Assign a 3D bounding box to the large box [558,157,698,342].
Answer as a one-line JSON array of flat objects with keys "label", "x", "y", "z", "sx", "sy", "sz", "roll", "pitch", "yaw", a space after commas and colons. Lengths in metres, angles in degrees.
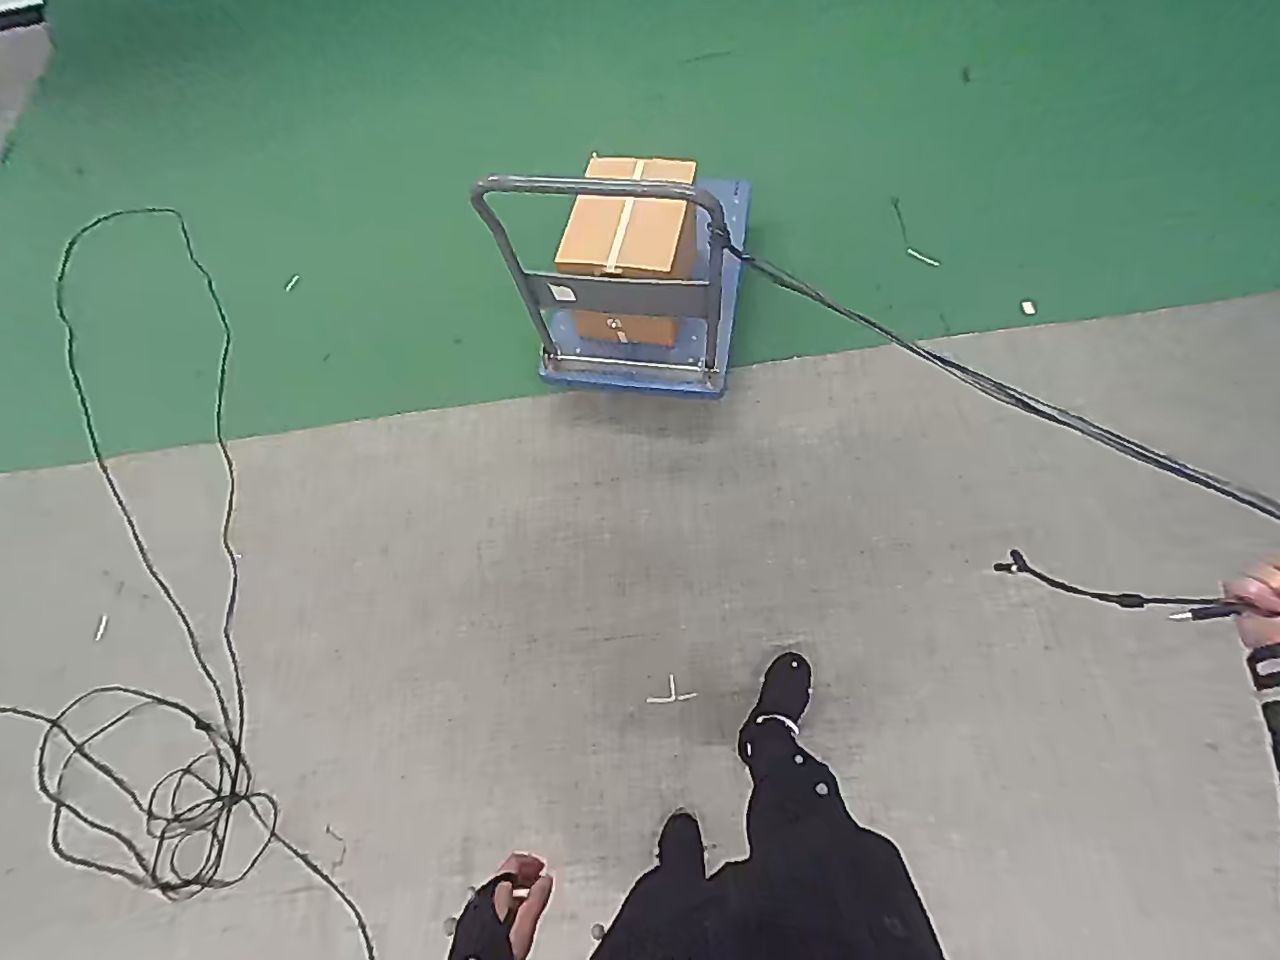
[{"label": "large box", "x": -0.013, "y": -0.664, "z": 1.583, "sx": 0.320, "sy": 0.320, "sz": 0.408, "roll": 9, "pitch": 68, "yaw": 10}]
